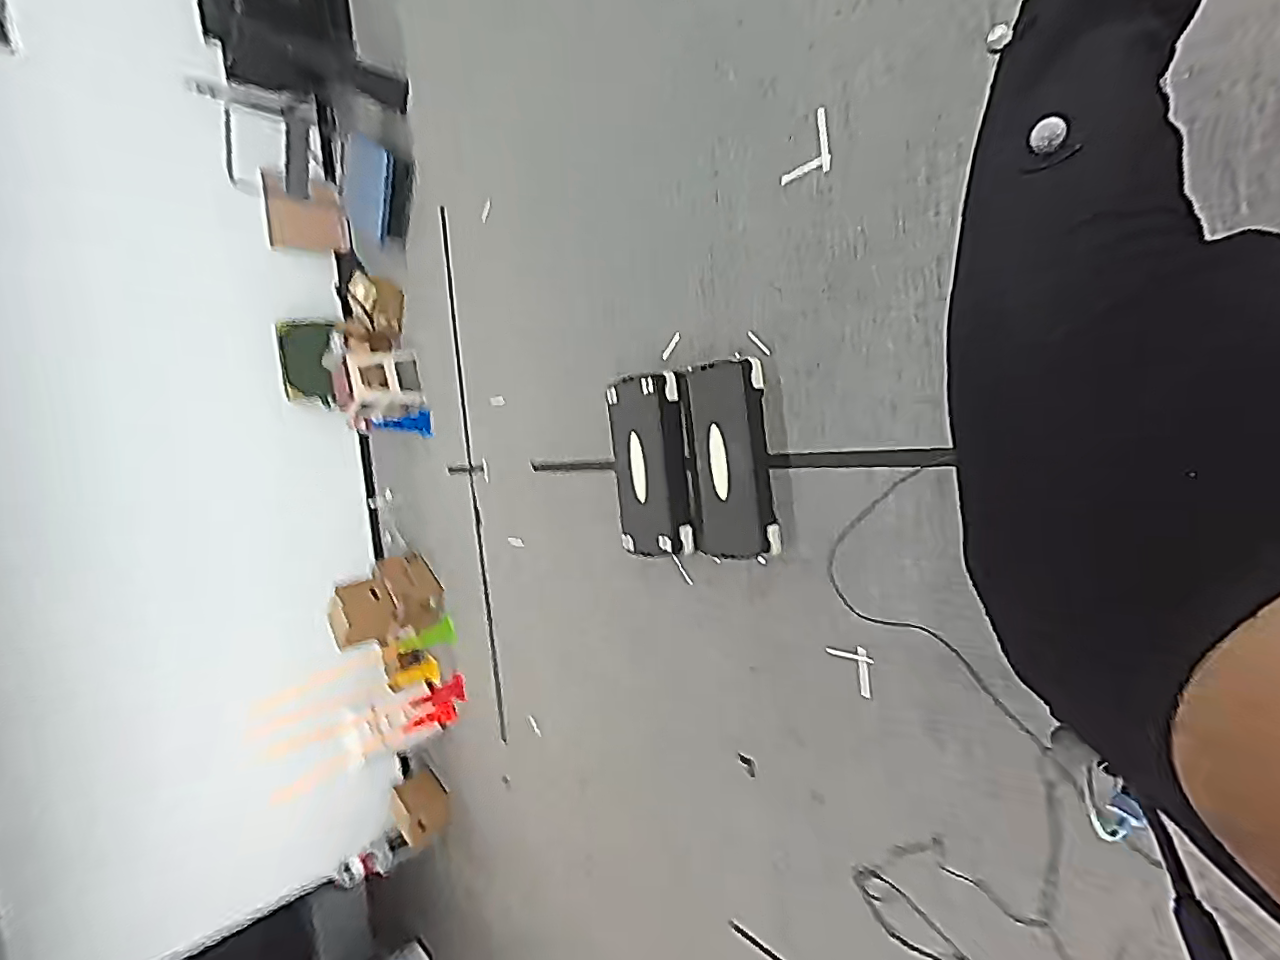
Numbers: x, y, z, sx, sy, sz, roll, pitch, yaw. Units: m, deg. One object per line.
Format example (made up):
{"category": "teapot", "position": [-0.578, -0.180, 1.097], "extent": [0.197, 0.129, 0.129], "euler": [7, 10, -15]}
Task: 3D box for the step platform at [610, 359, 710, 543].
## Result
{"category": "step platform", "position": [0.068, -0.104, 2.033], "extent": [0.286, 0.204, 0.684], "euler": [-4, 92, 47]}
